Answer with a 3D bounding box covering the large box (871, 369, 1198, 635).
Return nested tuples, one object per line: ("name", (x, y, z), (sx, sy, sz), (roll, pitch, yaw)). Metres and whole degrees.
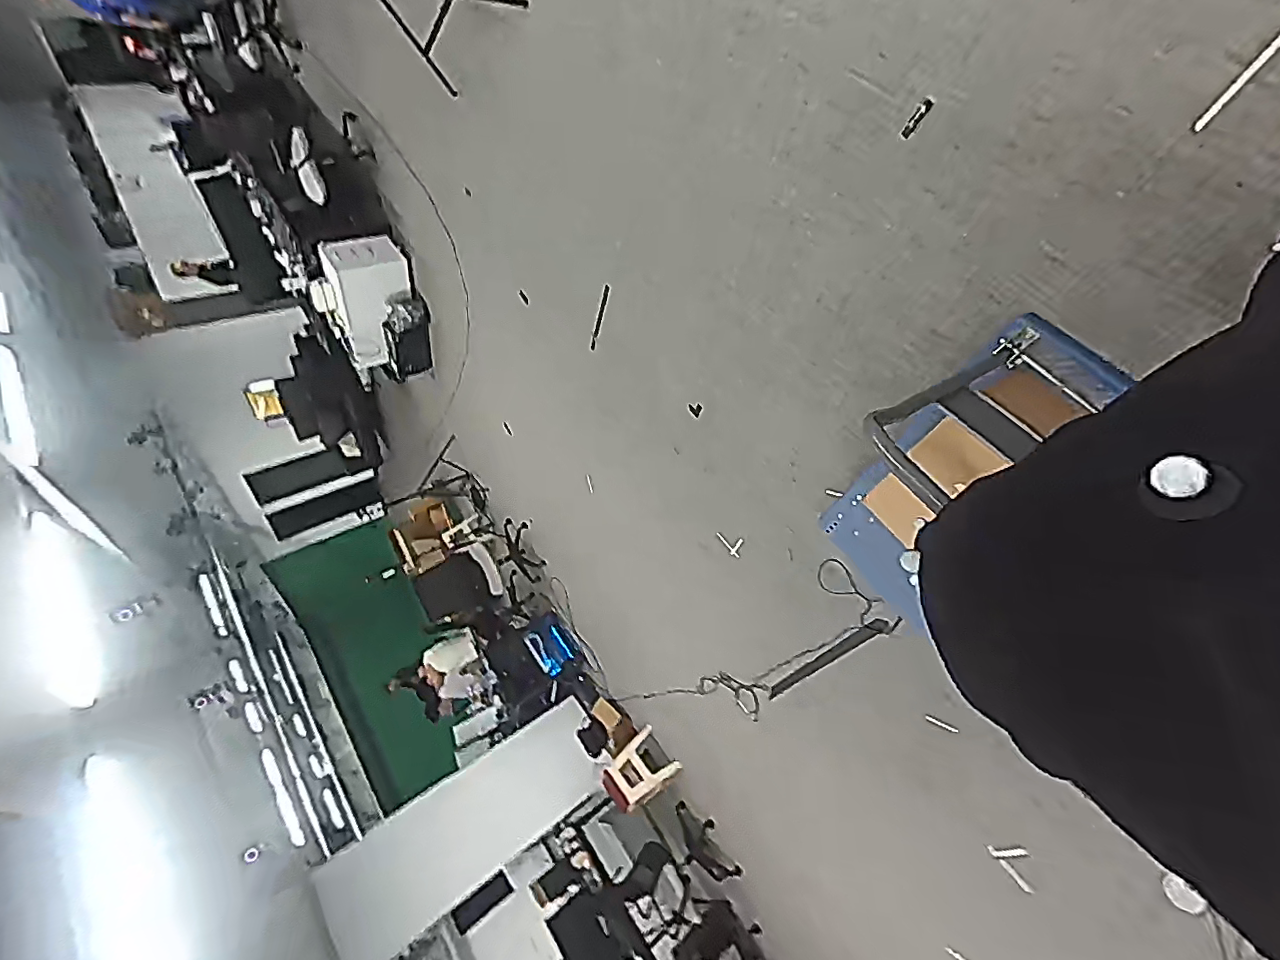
("large box", (0.801, 0.038, 1.140), (0.408, 0.320, 0.320), (52, 147, 21))
